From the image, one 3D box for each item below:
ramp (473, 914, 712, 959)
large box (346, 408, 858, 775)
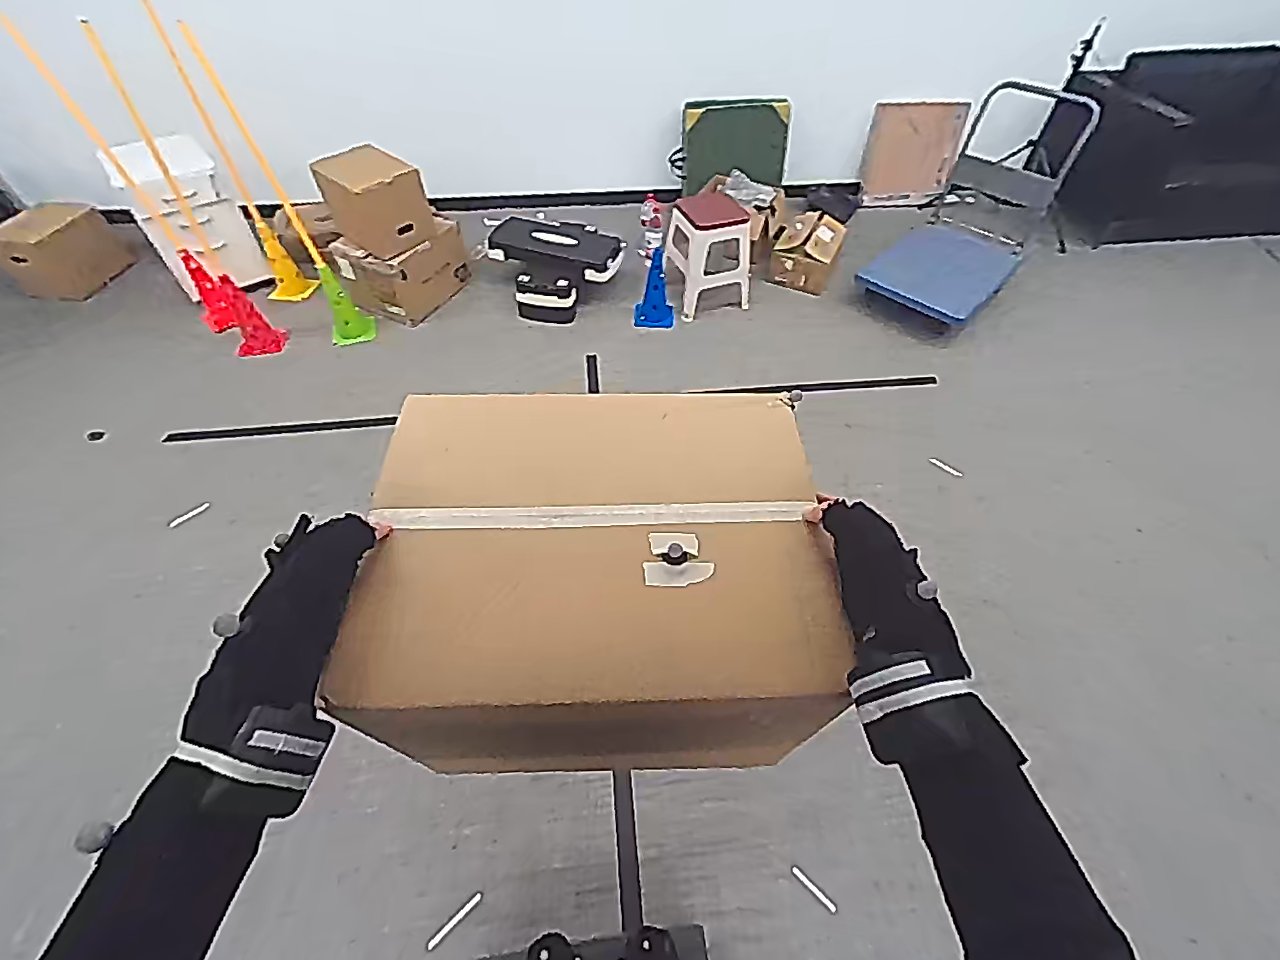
[{"bbox_3d":[-0.038,1.376,0.894,0.509,0.206,0.991,-6,51,-7],"label":"ramp"},{"bbox_3d":[-0.035,0.134,0.620,0.408,0.320,0.320,0,54,-2],"label":"large box"}]
